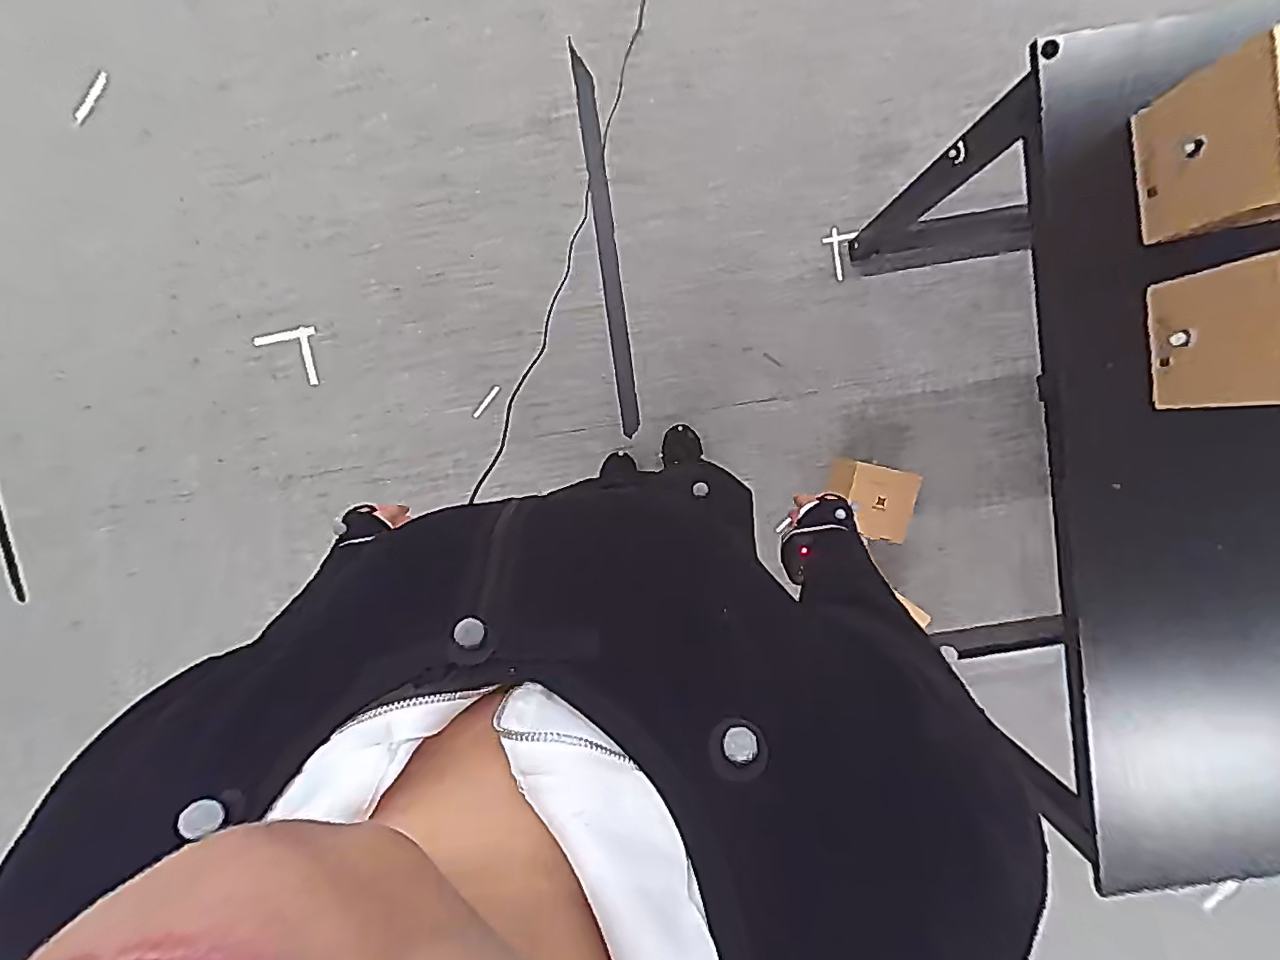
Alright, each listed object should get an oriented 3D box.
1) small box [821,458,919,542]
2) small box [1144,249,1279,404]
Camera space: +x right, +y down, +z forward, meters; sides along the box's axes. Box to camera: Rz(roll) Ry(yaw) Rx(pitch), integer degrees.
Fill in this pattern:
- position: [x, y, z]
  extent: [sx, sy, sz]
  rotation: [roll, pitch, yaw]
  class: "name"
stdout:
- position: [0.588, 0.045, 1.410]
  extent: [0.168, 0.176, 0.179]
  rotation: [13, 94, -1]
  class: "small box"
- position: [0.771, -0.186, 0.651]
  extent: [0.179, 0.176, 0.168]
  rotation: [-8, 95, 2]
  class: "small box"
